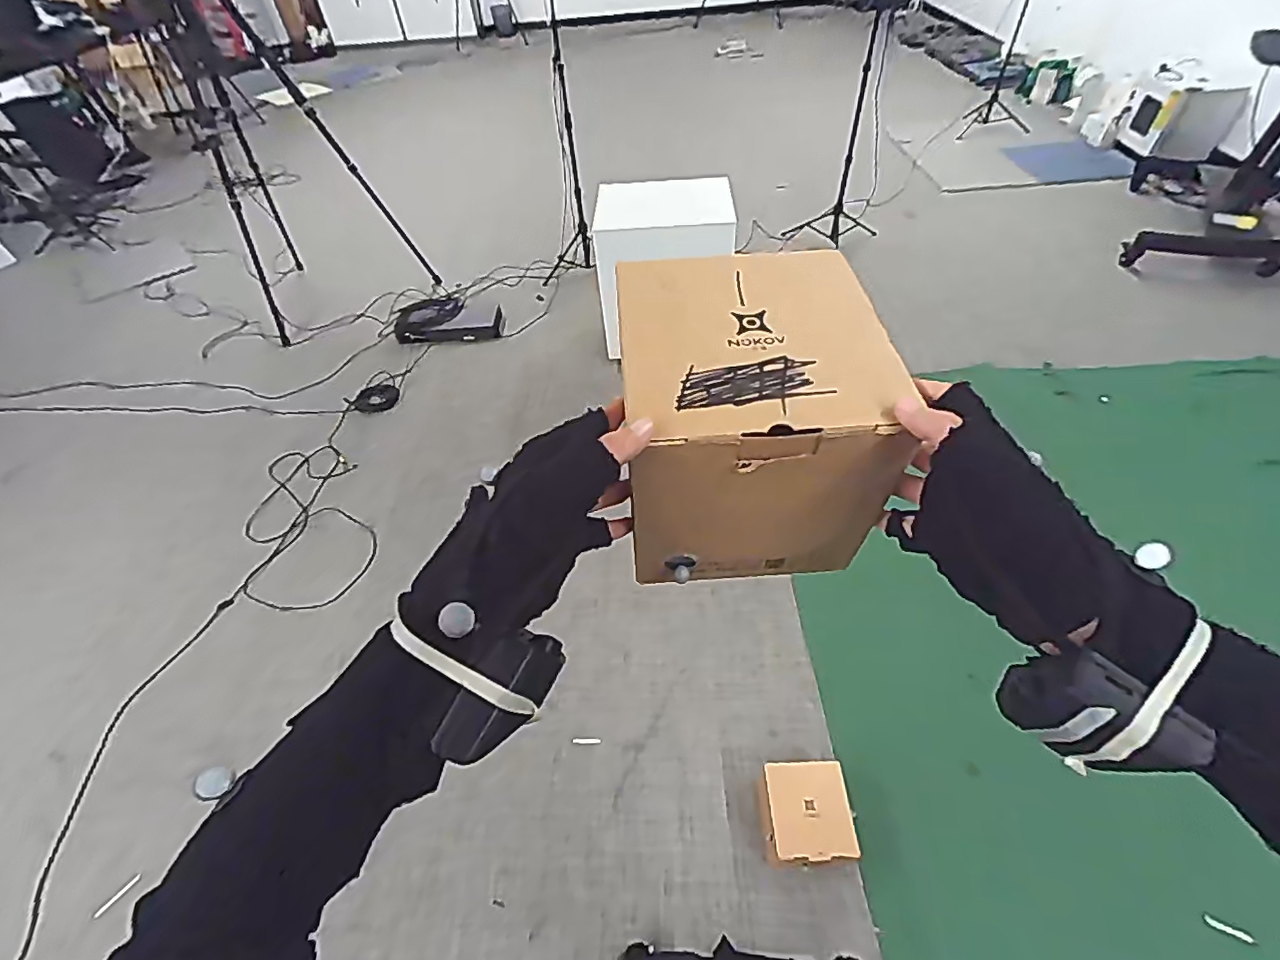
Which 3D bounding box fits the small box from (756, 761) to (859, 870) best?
[{"bbox_3d":[0.353,0.732,1.177,0.168,0.176,0.179,-4,49,2],"label":"small box"}]
